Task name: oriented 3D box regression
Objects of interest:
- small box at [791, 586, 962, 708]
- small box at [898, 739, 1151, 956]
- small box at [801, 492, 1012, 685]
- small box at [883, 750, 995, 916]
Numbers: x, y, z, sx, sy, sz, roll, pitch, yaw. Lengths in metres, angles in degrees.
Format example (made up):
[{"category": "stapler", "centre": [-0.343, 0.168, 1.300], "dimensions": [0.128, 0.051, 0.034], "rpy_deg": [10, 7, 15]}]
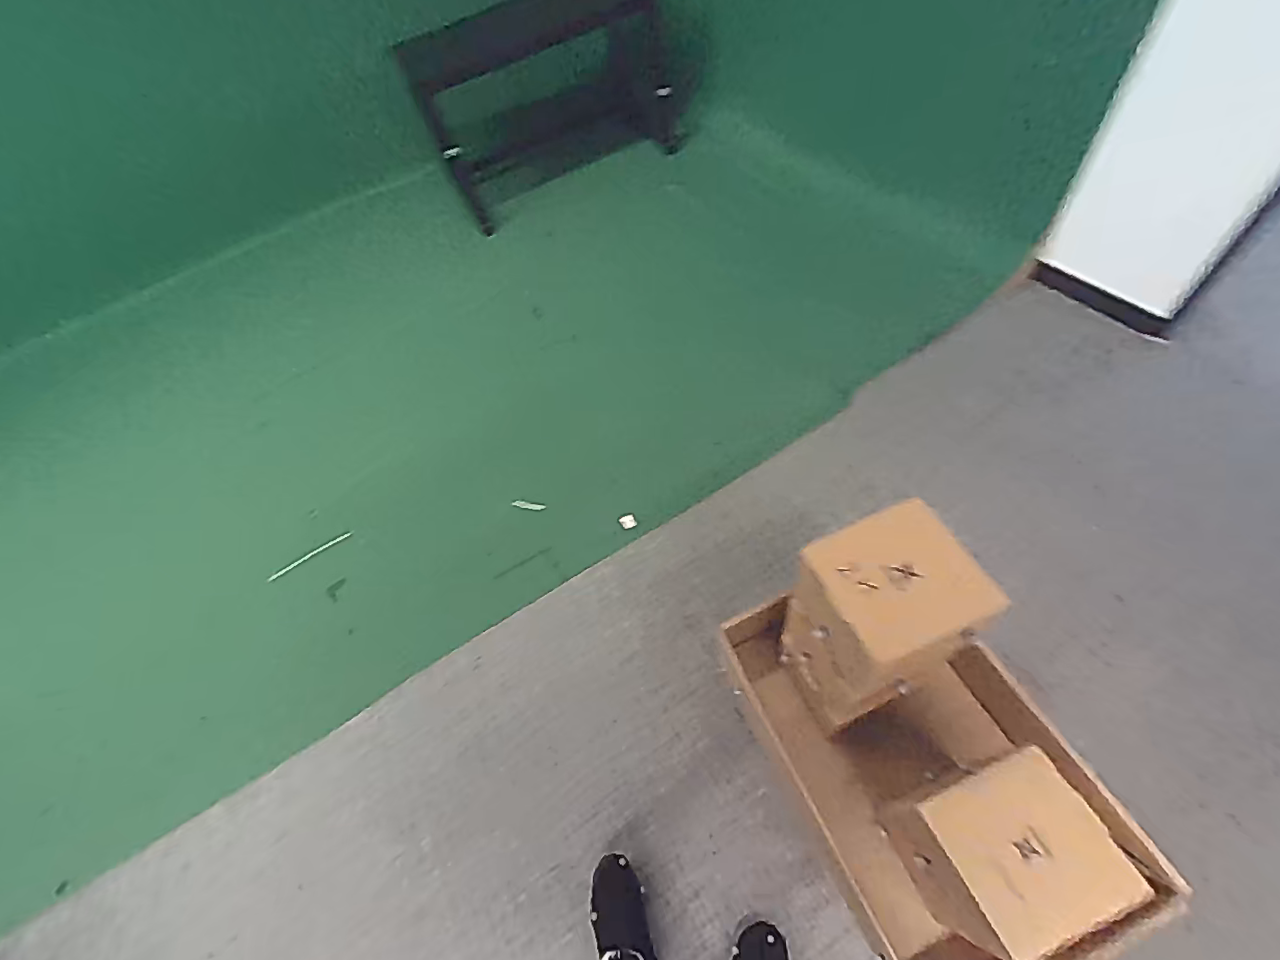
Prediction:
[{"category": "small box", "centre": [0.359, 0.240, 0.861], "dimensions": [0.179, 0.176, 0.168], "rpy_deg": [-24, 57, -4]}, {"category": "small box", "centre": [0.467, 0.459, 0.696], "dimensions": [0.179, 0.176, 0.168], "rpy_deg": [-24, 56, -3]}, {"category": "small box", "centre": [0.335, 0.150, 0.723], "dimensions": [0.179, 0.176, 0.168], "rpy_deg": [-23, 56, -3]}, {"category": "small box", "centre": [0.500, 0.543, 0.832], "dimensions": [0.179, 0.176, 0.168], "rpy_deg": [-24, 57, -4]}]
